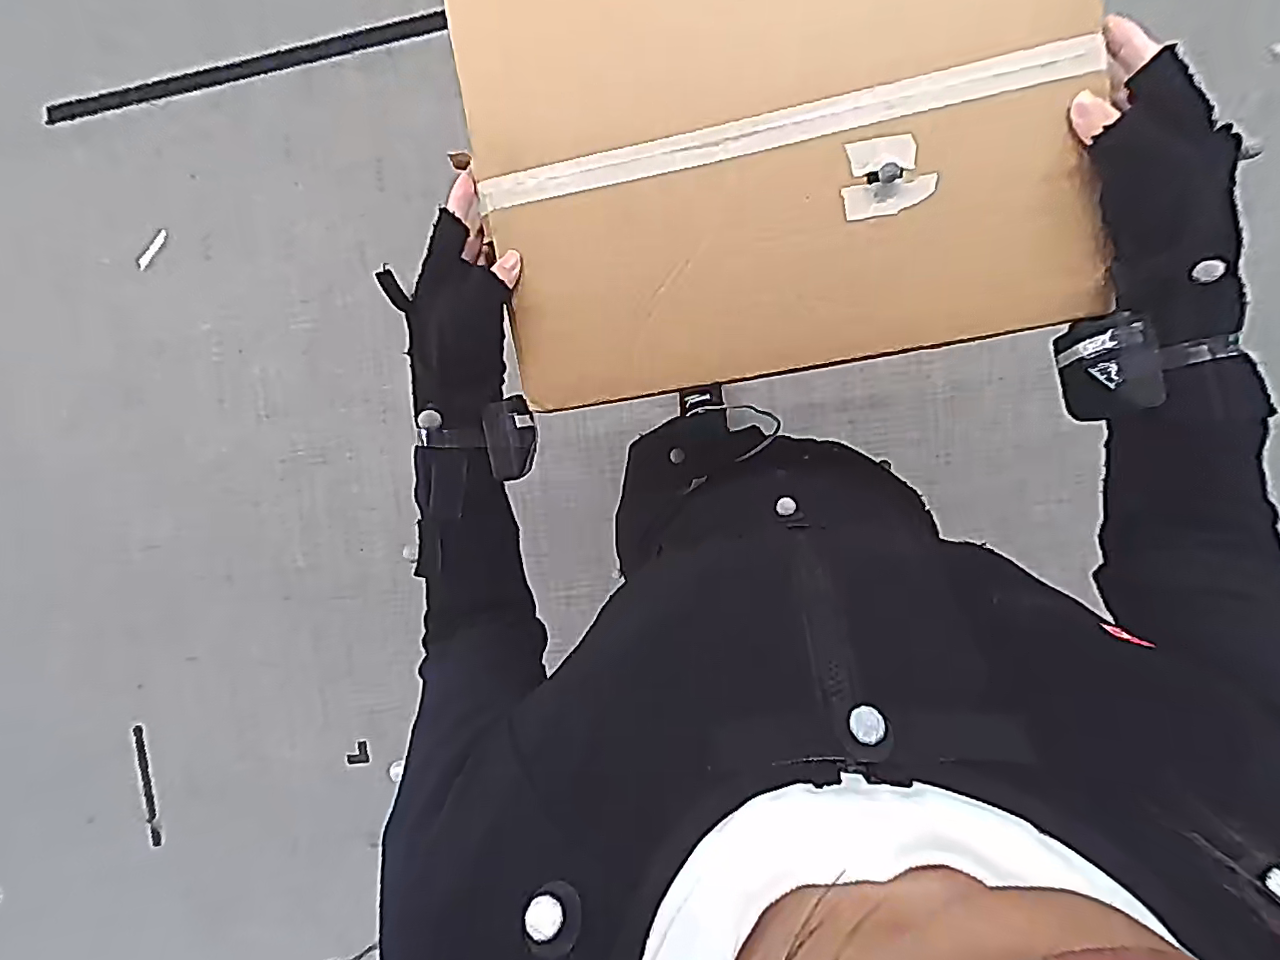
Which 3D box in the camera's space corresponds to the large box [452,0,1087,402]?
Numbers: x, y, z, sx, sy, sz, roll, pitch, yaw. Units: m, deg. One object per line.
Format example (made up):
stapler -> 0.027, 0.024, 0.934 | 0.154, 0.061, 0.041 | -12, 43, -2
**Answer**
large box -> 0.098, -0.266, 0.518 | 0.408, 0.320, 0.320 | -9, 100, 6
